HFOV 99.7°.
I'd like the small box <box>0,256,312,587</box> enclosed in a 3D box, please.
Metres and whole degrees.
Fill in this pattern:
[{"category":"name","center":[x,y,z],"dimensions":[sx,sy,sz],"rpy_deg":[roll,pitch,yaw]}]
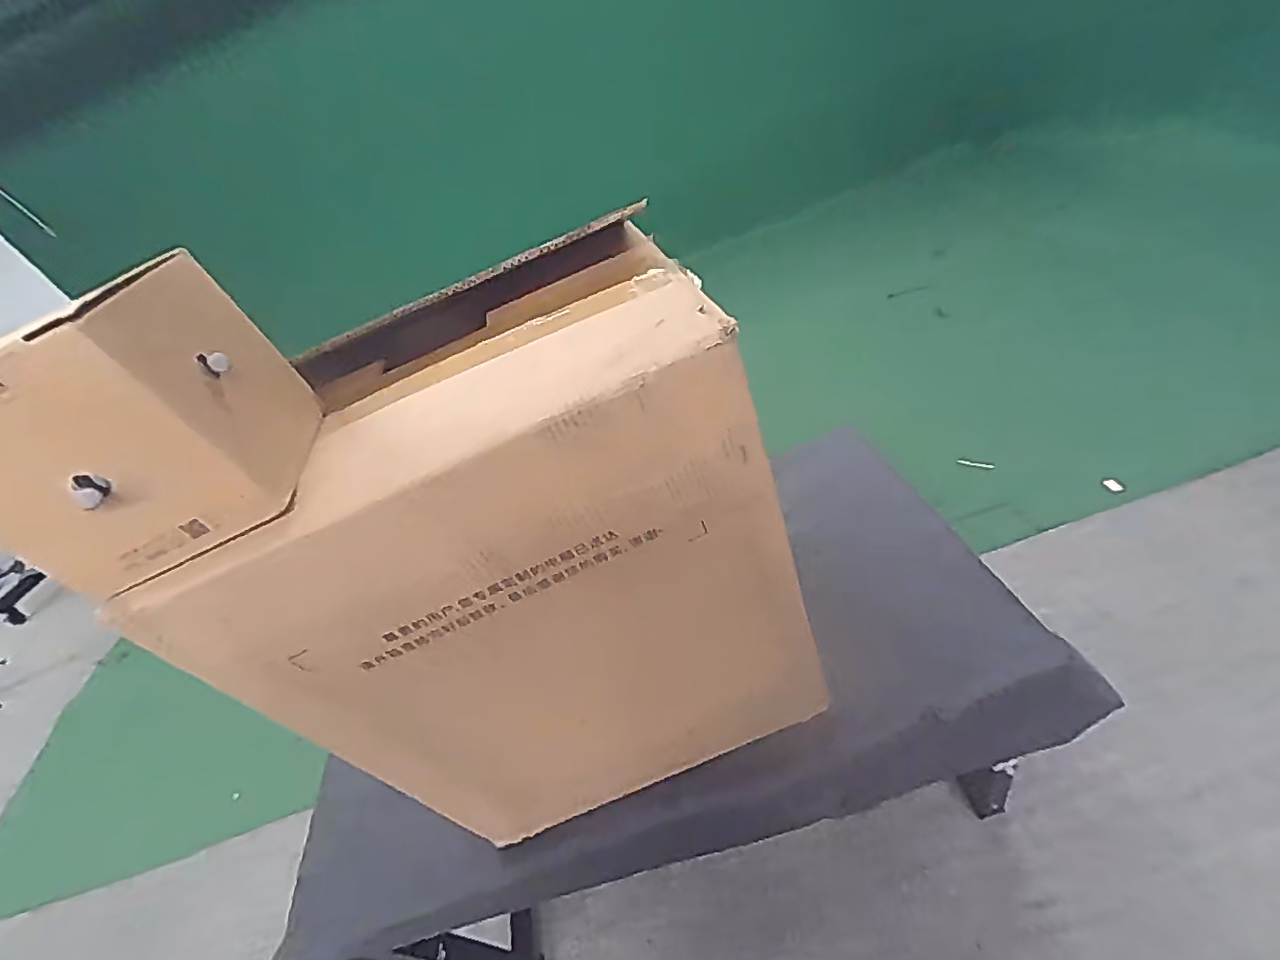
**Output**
[{"category":"small box","center":[-0.398,-0.040,0.426],"dimensions":[0.168,0.176,0.179],"rpy_deg":[-26,40,1]}]
